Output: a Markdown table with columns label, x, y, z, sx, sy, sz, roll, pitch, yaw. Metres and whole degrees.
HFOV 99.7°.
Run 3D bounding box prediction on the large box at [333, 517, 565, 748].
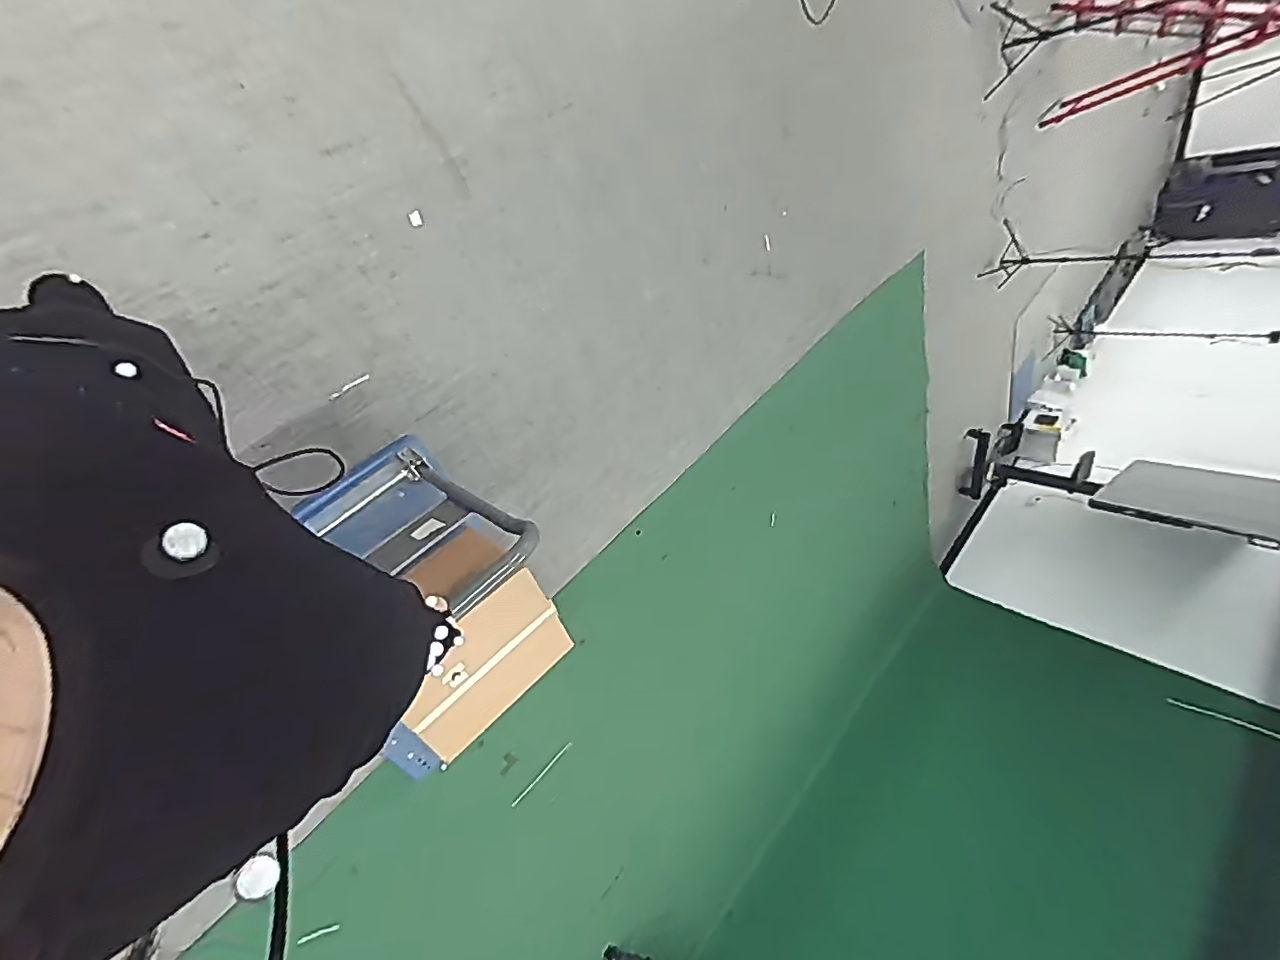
| label | x | y | z | sx | sy | sz | roll | pitch | yaw |
| --- | --- | --- | --- | --- | --- | --- | --- | --- | --- |
| large box | -0.476 | 0.364 | 1.379 | 0.408 | 0.320 | 0.320 | -40 | 127 | -25 |
